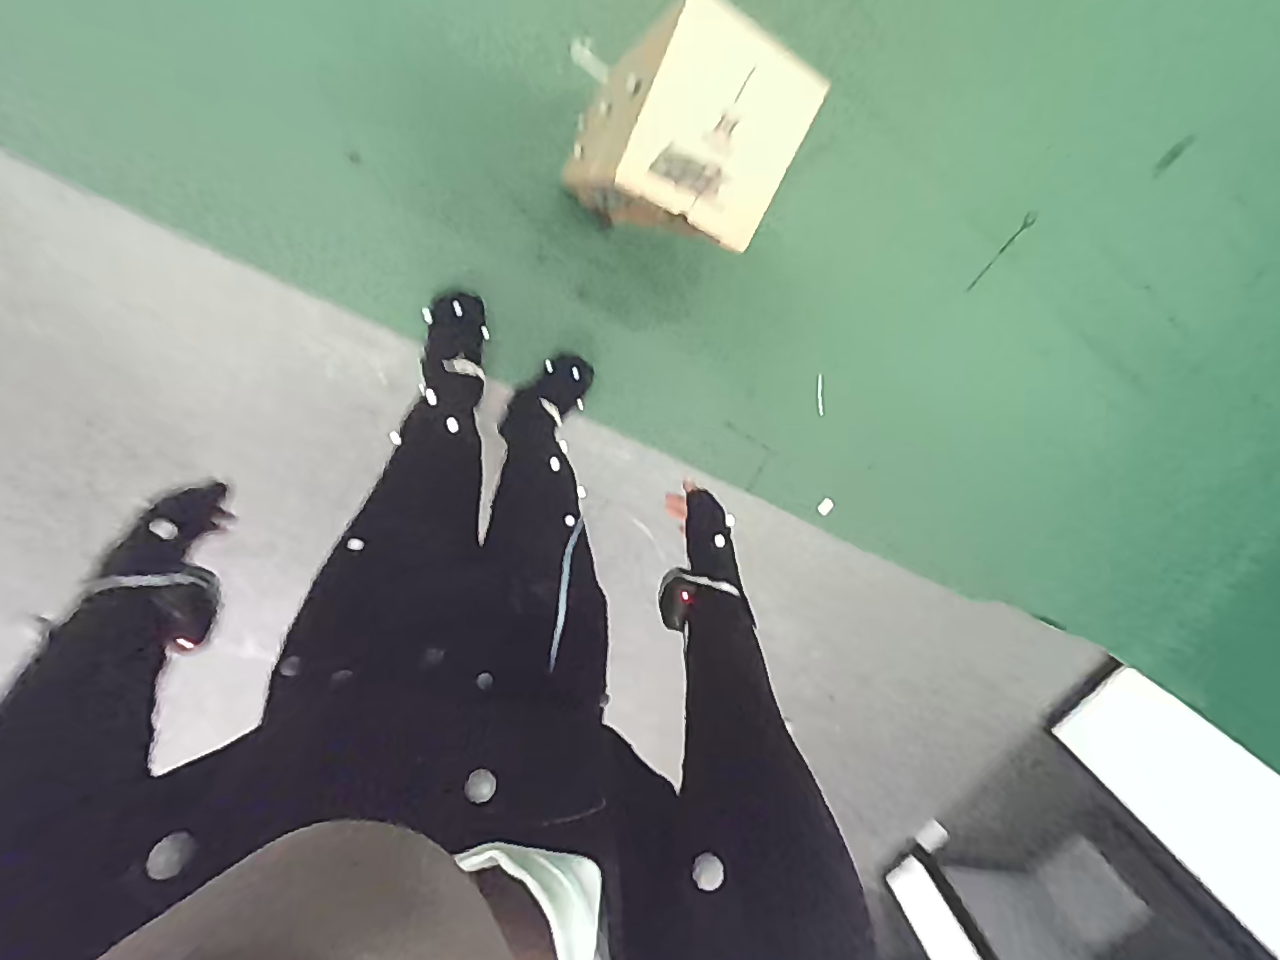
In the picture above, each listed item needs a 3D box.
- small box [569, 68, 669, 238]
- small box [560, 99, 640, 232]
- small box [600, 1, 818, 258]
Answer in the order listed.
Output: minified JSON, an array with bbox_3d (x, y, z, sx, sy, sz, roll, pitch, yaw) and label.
[{"bbox_3d":[-0.010,-0.535,0.903,0.168,0.176,0.179,20,112,-23],"label":"small box"},{"bbox_3d":[-0.045,-0.608,1.044,0.168,0.176,0.179,22,110,-23],"label":"small box"},{"bbox_3d":[0.062,-0.384,0.621,0.168,0.176,0.179,16,114,-22],"label":"small box"}]
